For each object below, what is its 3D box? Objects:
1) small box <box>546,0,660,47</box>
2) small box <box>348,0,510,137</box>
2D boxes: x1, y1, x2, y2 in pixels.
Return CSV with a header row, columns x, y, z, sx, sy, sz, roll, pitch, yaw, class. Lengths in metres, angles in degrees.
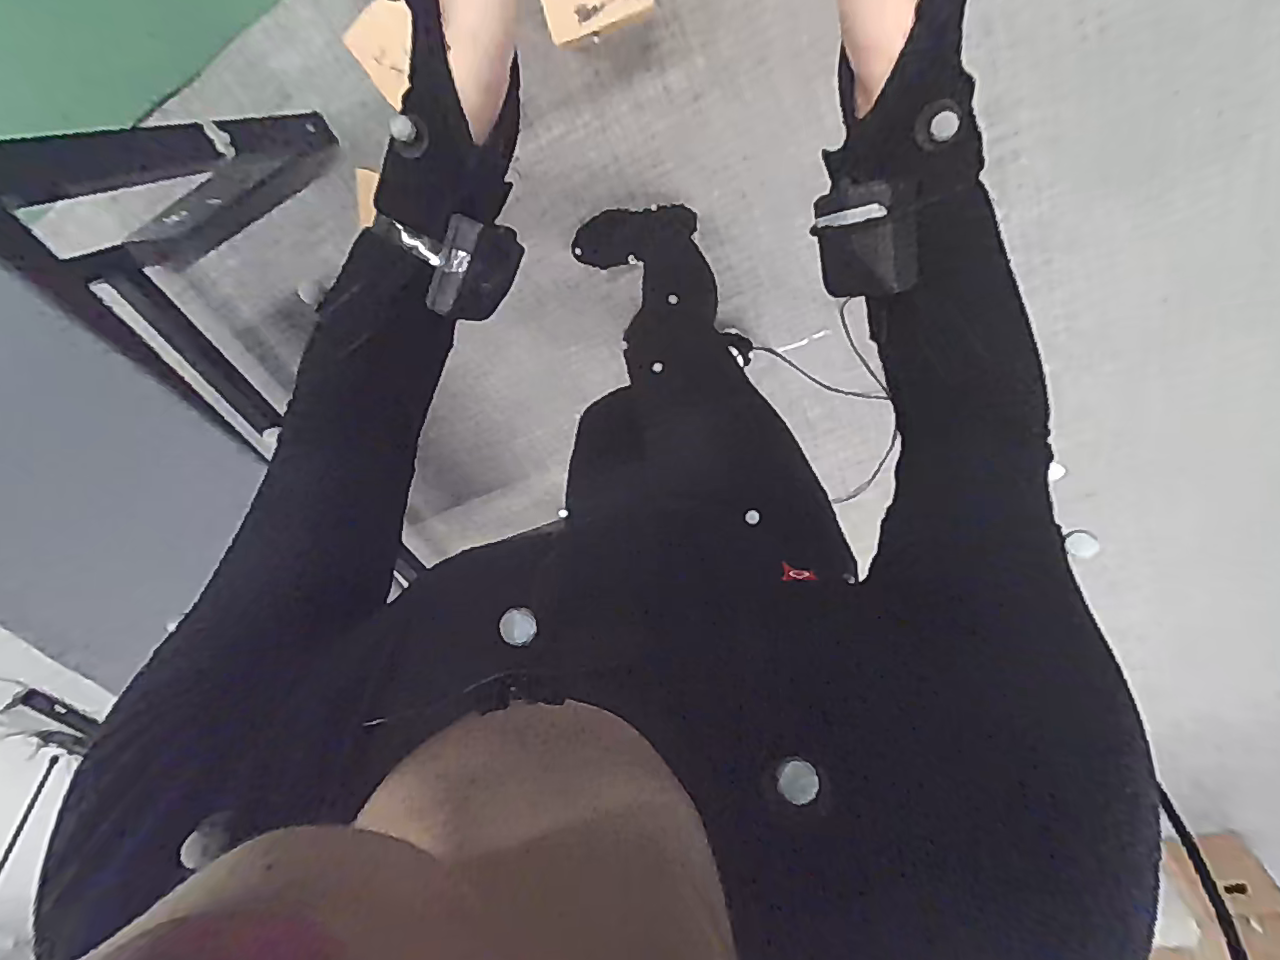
x,y,z,sx,sy,sz,roll,pitch,yaw,class
-0.069,-0.809,0.839,0.168,0.176,0.179,-12,125,12,small box
-0.342,-0.725,0.920,0.179,0.176,0.168,-27,120,21,small box
